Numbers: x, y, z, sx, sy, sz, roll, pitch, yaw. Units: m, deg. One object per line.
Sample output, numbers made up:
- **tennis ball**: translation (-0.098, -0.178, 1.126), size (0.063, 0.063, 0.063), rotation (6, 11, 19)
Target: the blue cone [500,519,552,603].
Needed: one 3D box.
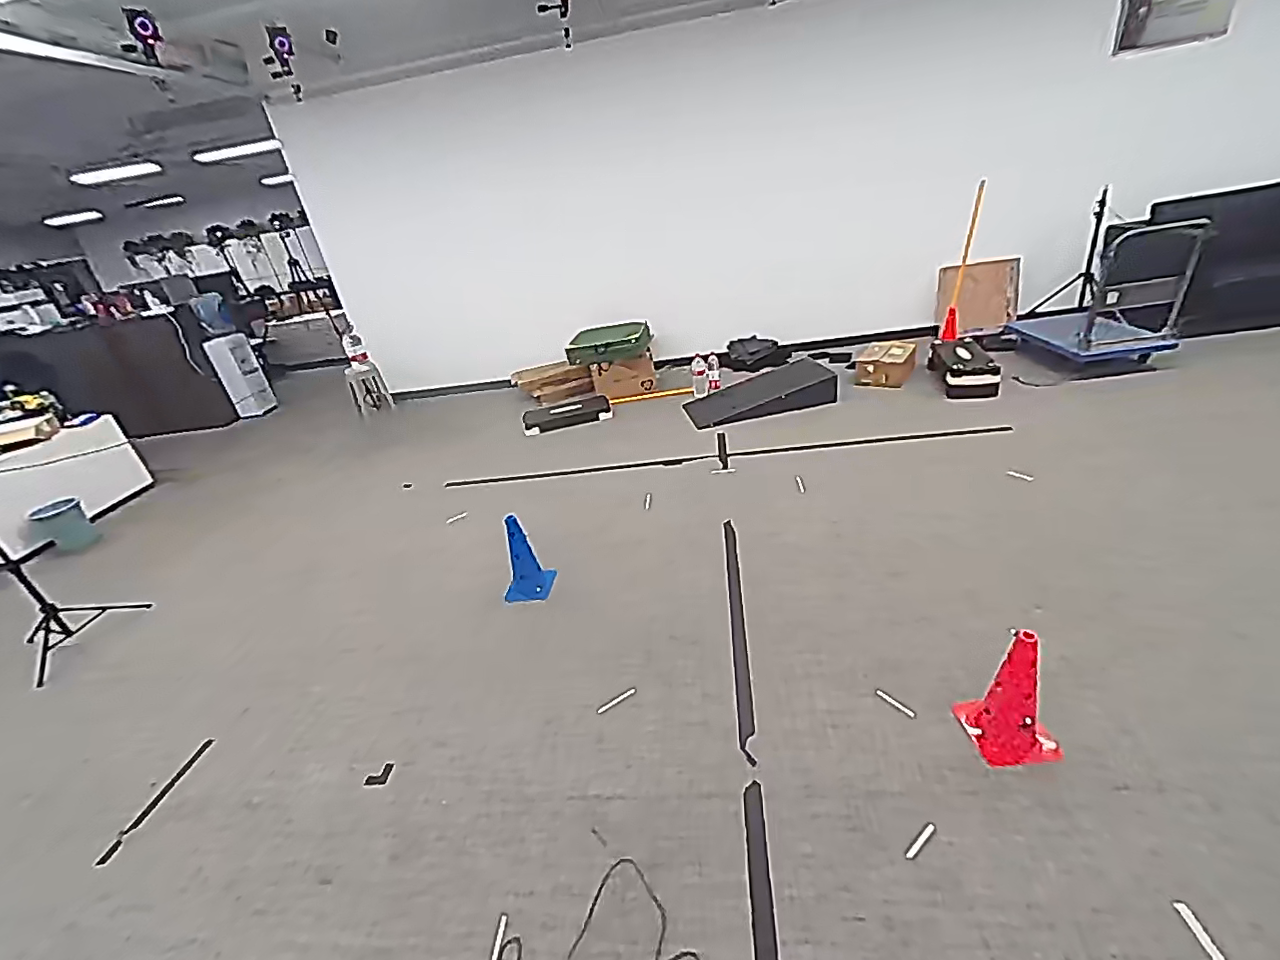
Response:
- **blue cone**: translation (-0.516, 0.327, 2.293), size (0.192, 0.380, 0.193), rotation (-6, 28, 10)

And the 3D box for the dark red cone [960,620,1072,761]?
- **dark red cone**: translation (0.979, 0.515, 1.382), size (0.201, 0.394, 0.202), rotation (-10, 27, 2)
